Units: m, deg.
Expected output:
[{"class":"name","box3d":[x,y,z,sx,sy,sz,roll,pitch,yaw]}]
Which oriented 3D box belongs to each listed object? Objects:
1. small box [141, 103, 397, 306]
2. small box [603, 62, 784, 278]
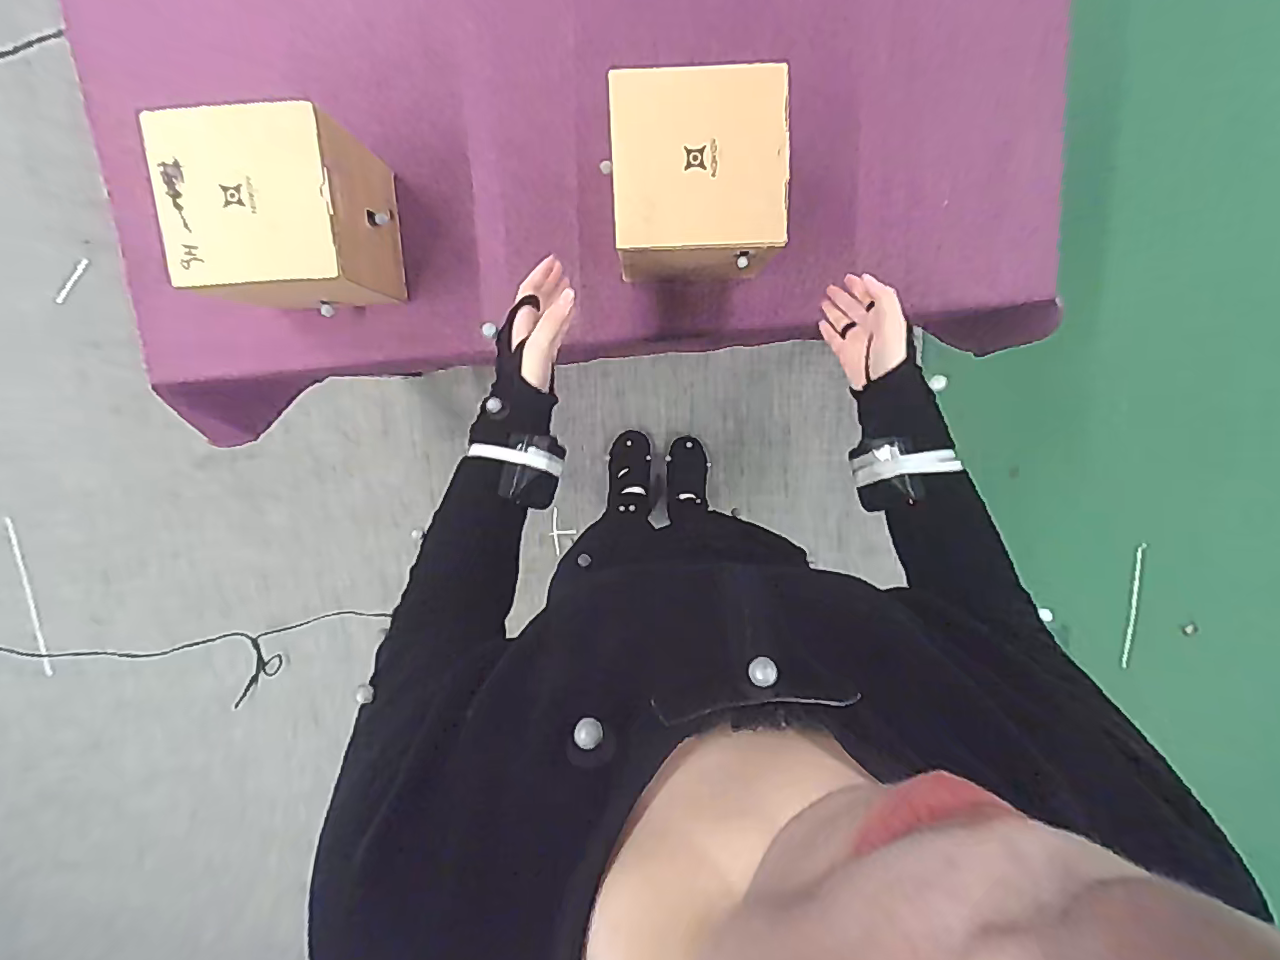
[{"class":"small box","box3d":[-0.397,-0.298,0.618,0.179,0.176,0.168,-3,99,0]},{"class":"small box","box3d":[0.054,-0.331,0.611,0.179,0.176,0.168,-2,99,0]}]
